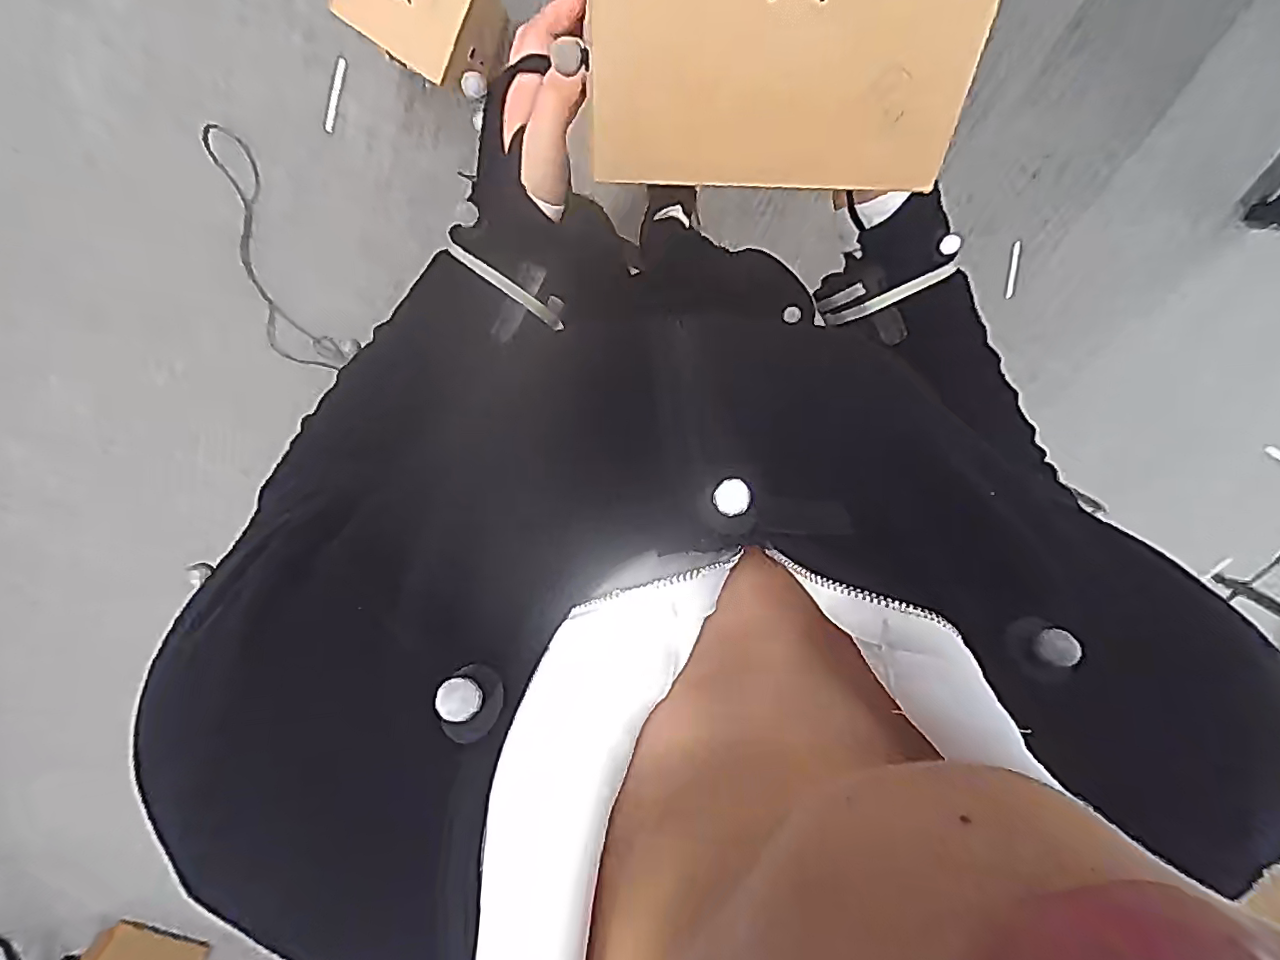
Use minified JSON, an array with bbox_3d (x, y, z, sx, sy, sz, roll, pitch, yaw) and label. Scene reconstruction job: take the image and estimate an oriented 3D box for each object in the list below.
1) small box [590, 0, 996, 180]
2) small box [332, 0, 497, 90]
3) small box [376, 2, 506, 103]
[{"bbox_3d":[0.060,-0.263,0.264,0.168,0.176,0.179,-2,129,-5],"label":"small box"},{"bbox_3d":[-0.350,-0.761,0.866,0.179,0.176,0.168,26,116,-20],"label":"small box"},{"bbox_3d":[-0.362,-0.839,1.010,0.168,0.176,0.179,22,117,-17],"label":"small box"}]
